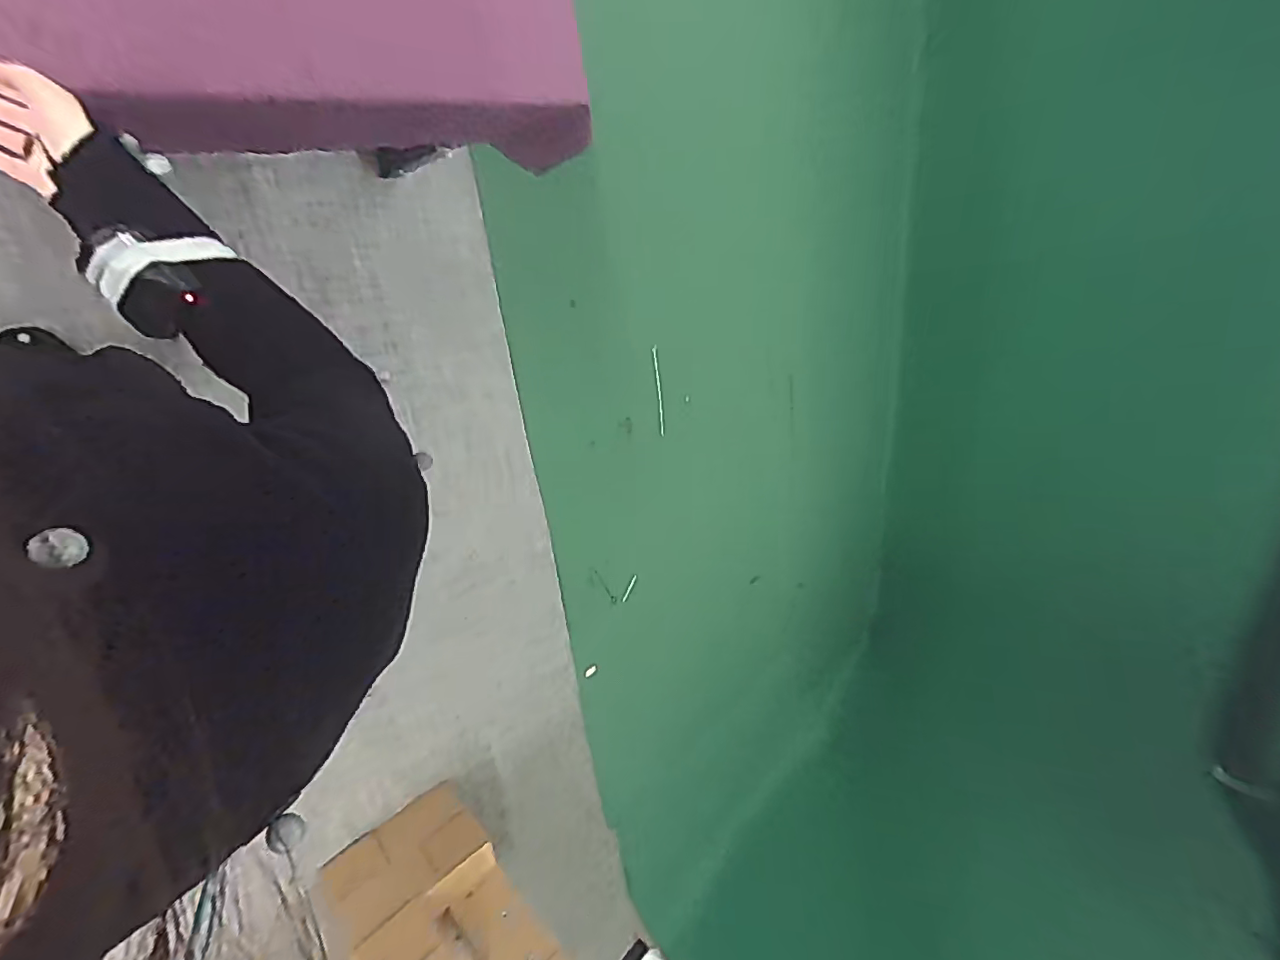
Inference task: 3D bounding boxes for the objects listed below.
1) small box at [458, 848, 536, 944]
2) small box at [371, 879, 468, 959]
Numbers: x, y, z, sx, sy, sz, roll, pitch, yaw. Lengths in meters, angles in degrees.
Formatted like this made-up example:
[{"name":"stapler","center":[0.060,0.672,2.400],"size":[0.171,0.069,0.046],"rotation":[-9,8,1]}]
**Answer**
[{"name":"small box","center":[-0.421,1.266,1.624],"size":[0.168,0.176,0.179],"rotation":[-25,121,-40]},{"name":"small box","center":[-0.588,1.224,1.430],"size":[0.179,0.176,0.168],"rotation":[-27,122,-39]}]
